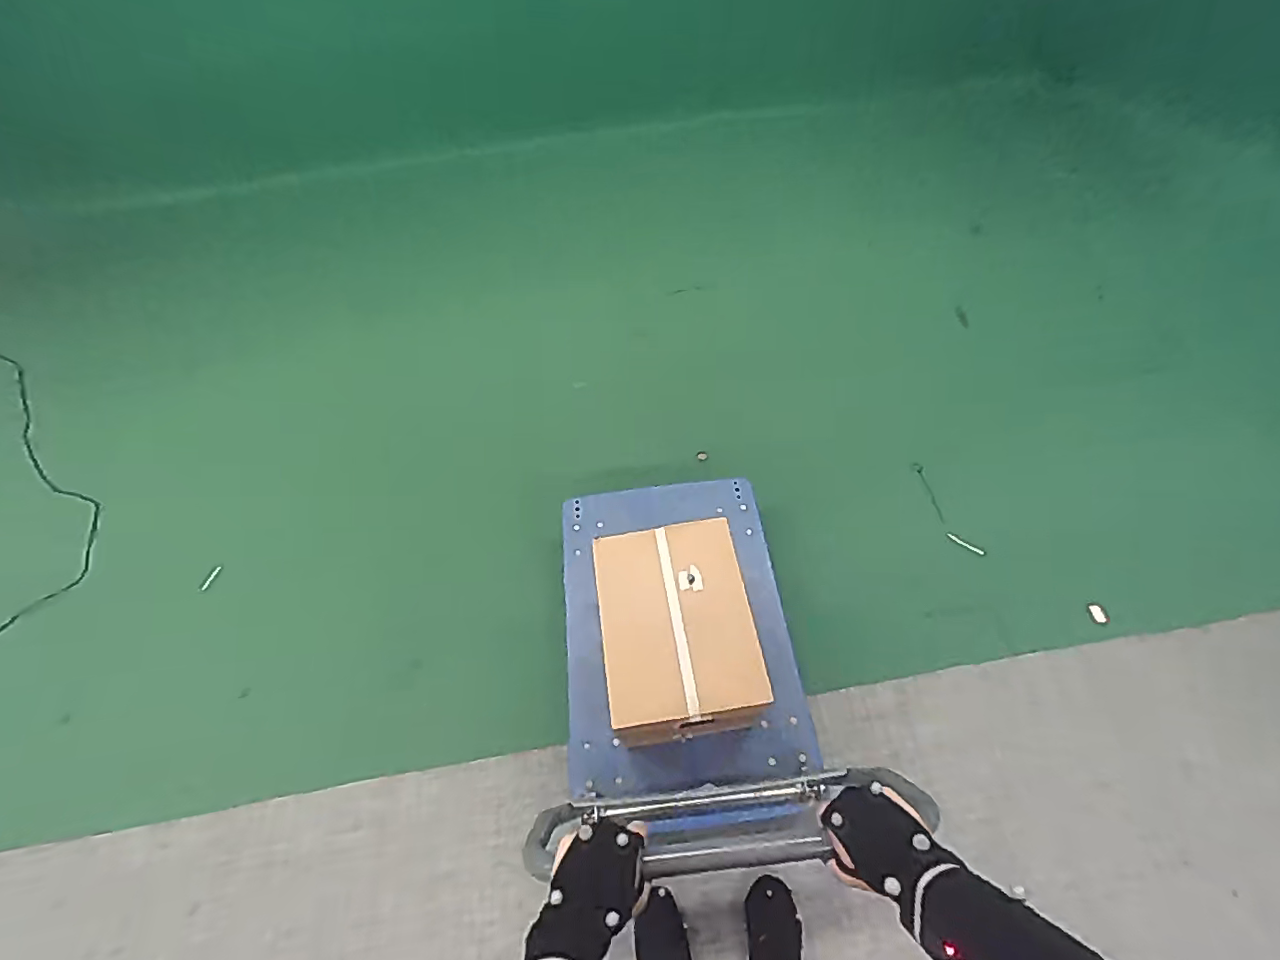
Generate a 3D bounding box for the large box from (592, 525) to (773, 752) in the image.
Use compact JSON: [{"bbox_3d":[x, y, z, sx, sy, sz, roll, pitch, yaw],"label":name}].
[{"bbox_3d":[0.085,0.372,1.253,0.320,0.320,0.408,-10,58,-1],"label":"large box"}]
